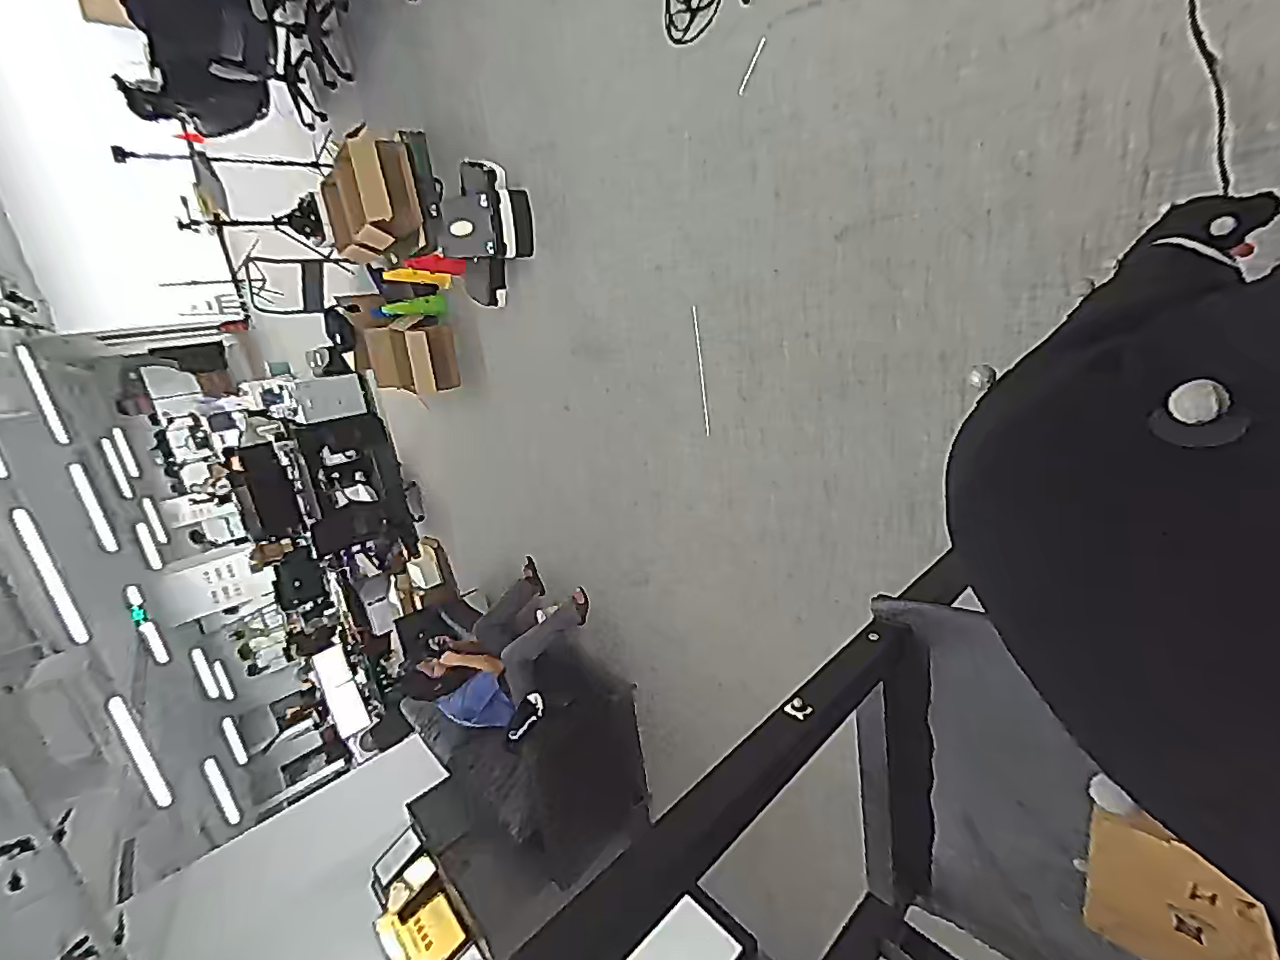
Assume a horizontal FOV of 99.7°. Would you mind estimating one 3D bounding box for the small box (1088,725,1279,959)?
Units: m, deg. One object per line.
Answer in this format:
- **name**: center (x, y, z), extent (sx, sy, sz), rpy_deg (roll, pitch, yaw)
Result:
- **small box**: center (0.607, 0.408, 0.576), extent (0.168, 0.176, 0.179), rpy_deg (9, 114, 48)
